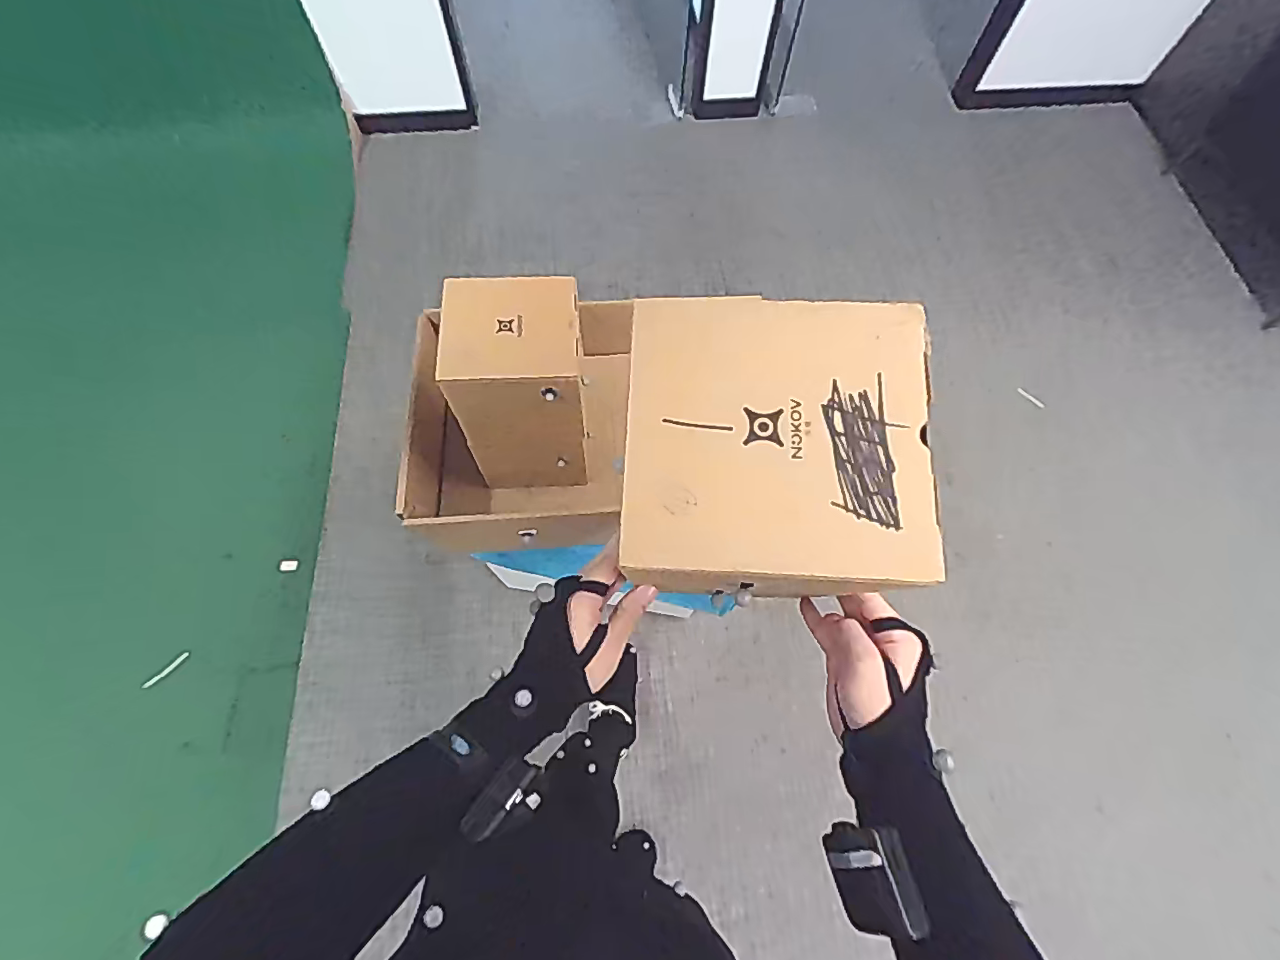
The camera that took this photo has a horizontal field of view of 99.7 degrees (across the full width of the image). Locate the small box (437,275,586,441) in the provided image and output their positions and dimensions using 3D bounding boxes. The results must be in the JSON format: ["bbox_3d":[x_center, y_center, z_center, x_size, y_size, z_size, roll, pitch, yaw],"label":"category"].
[{"bbox_3d":[-0.168,-0.165,0.760,0.179,0.176,0.168,-2,65,-6],"label":"small box"}]

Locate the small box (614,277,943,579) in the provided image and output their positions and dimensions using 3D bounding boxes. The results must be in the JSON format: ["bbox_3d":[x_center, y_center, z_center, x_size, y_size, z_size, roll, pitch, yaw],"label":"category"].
[{"bbox_3d":[0.080,-0.020,0.382,0.179,0.176,0.168,2,76,3],"label":"small box"}]
